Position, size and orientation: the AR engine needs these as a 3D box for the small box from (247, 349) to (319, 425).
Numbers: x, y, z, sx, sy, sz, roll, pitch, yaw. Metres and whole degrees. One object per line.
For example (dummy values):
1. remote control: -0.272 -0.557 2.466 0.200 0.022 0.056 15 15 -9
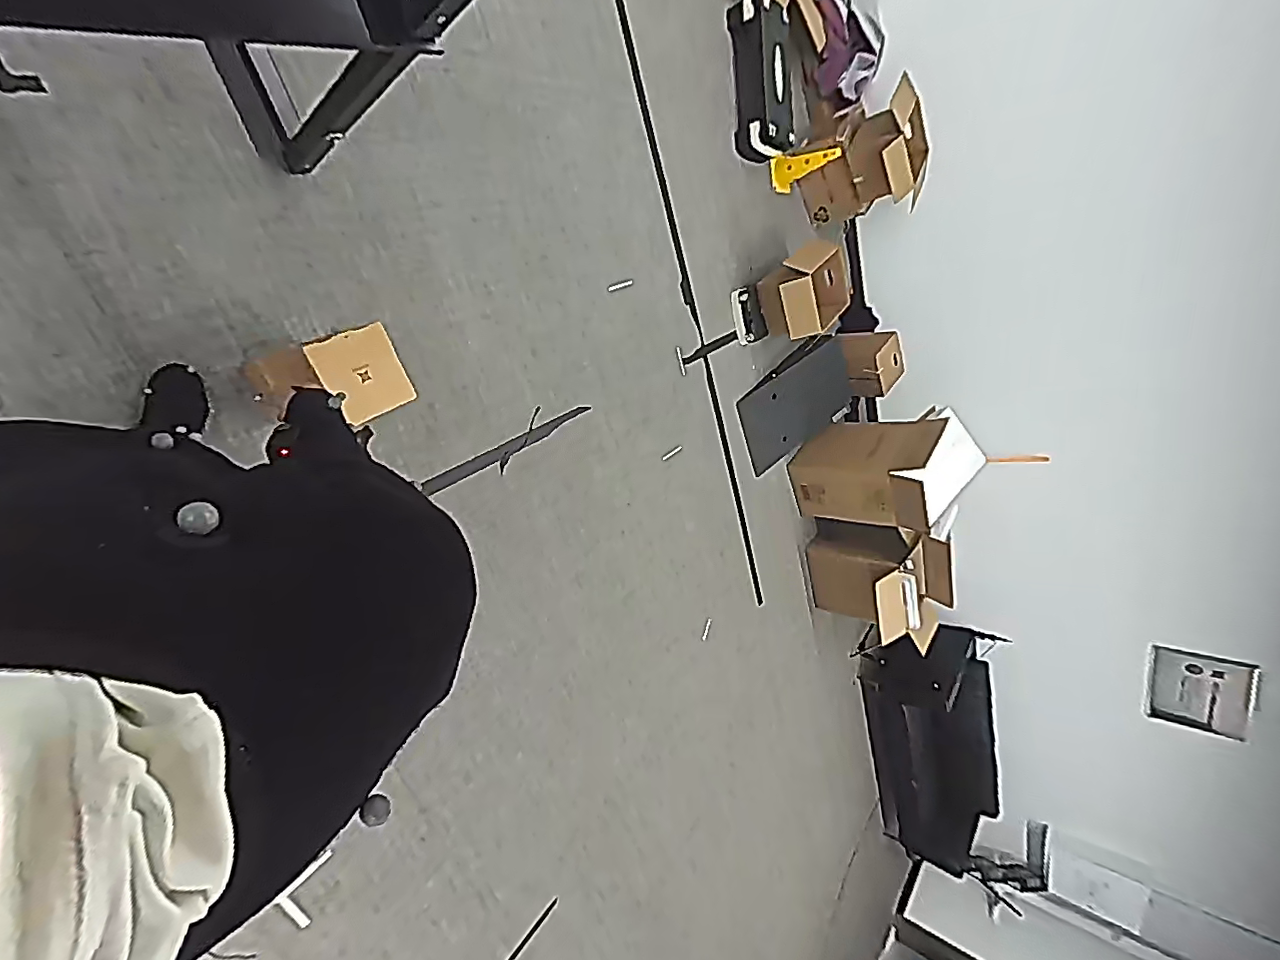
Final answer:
1. small box: -0.860 -0.251 1.385 0.179 0.176 0.168 -37 119 -38

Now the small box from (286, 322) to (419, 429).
1. small box: -0.619 -0.225 1.165 0.168 0.176 0.179 -39 121 -37
